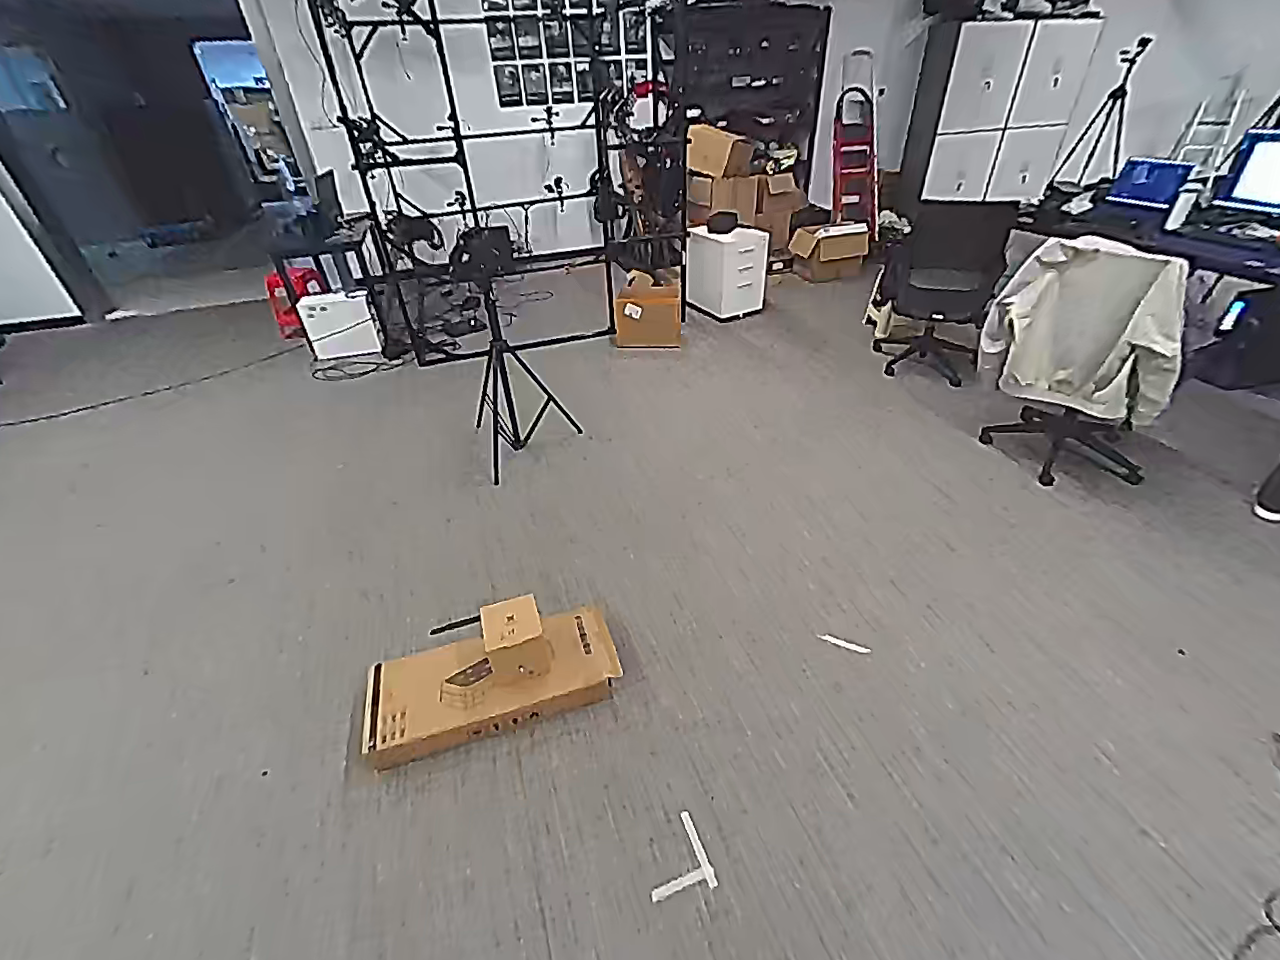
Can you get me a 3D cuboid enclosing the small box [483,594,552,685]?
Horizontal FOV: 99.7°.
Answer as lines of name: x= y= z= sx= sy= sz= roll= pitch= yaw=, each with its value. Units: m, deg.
small box: x=-0.372 y=0.484 z=1.640 sx=0.168 sy=0.176 sz=0.179 roll=-14 pitch=37 yaw=-14
